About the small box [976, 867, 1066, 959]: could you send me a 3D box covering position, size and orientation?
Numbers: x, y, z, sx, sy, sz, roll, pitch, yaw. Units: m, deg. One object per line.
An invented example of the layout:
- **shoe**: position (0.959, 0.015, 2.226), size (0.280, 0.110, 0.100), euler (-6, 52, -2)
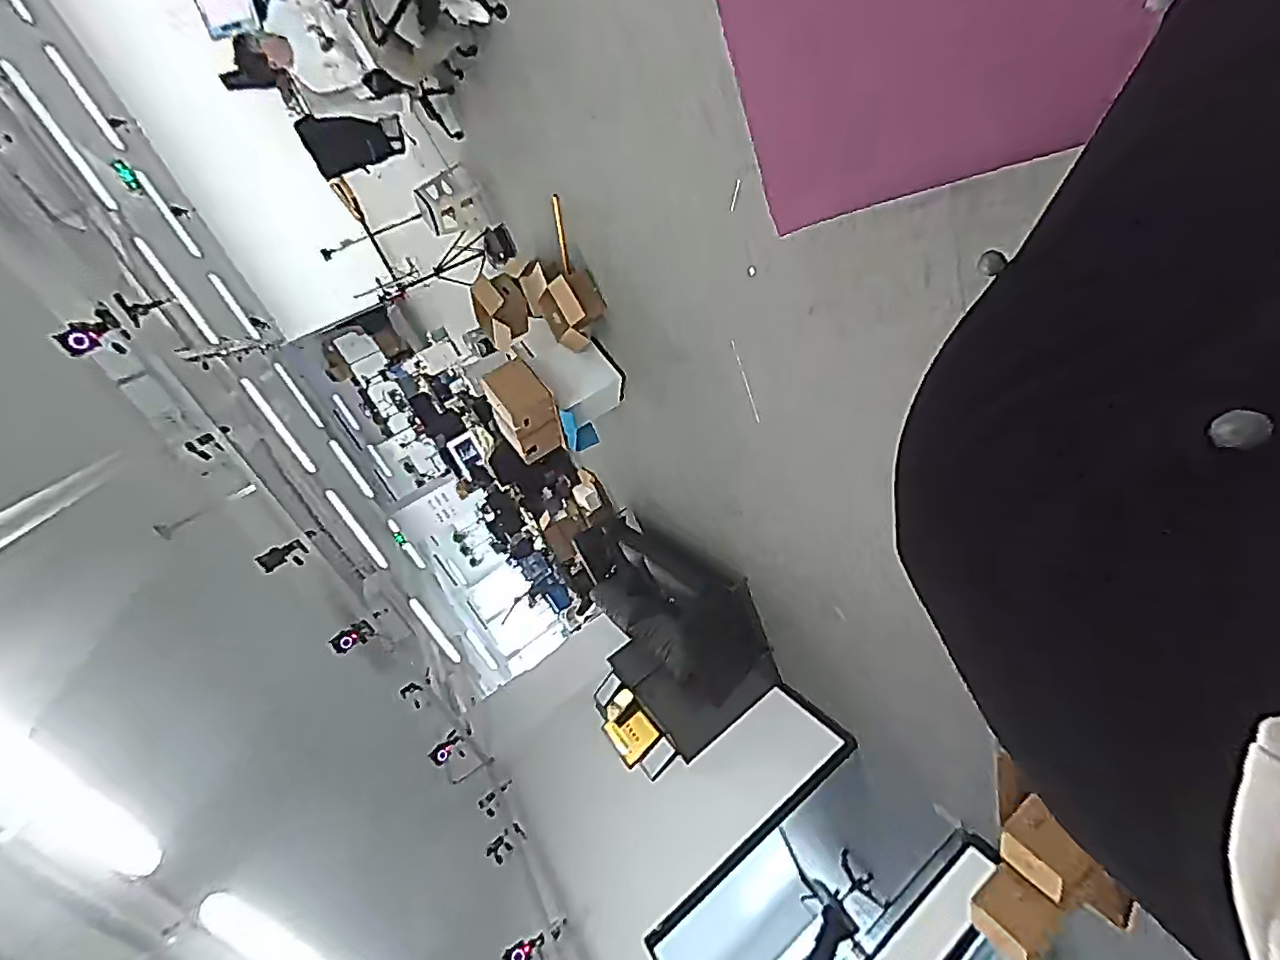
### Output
- **small box**: position (1.160, 1.342, 1.645), size (0.168, 0.176, 0.179), euler (28, 143, 57)

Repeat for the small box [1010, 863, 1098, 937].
- **small box**: position (1.300, 1.274, 1.703), size (0.168, 0.176, 0.179), euler (31, 146, 56)

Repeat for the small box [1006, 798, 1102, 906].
- **small box**: position (1.215, 1.085, 1.590), size (0.168, 0.176, 0.179), euler (34, 152, 54)
